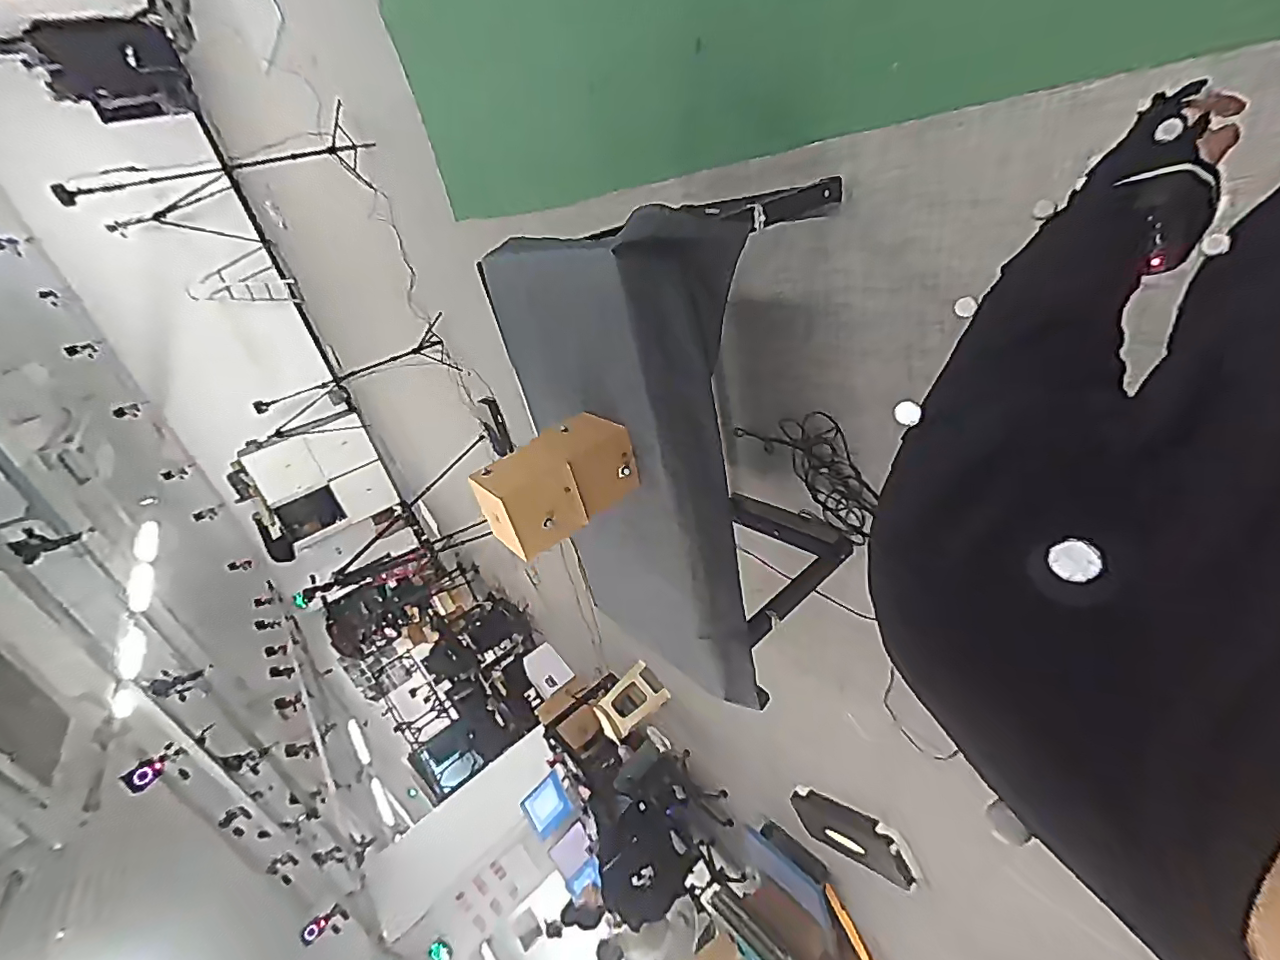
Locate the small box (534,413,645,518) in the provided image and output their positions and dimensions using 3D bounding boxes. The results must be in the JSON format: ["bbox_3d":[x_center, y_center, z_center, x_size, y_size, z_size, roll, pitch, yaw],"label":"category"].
[{"bbox_3d":[-0.115,-0.043,1.264,0.179,0.176,0.168,23,137,47],"label":"small box"}]

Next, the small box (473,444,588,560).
[{"bbox_3d":[-0.231,0.039,1.185,0.179,0.176,0.168,24,138,49],"label":"small box"}]
